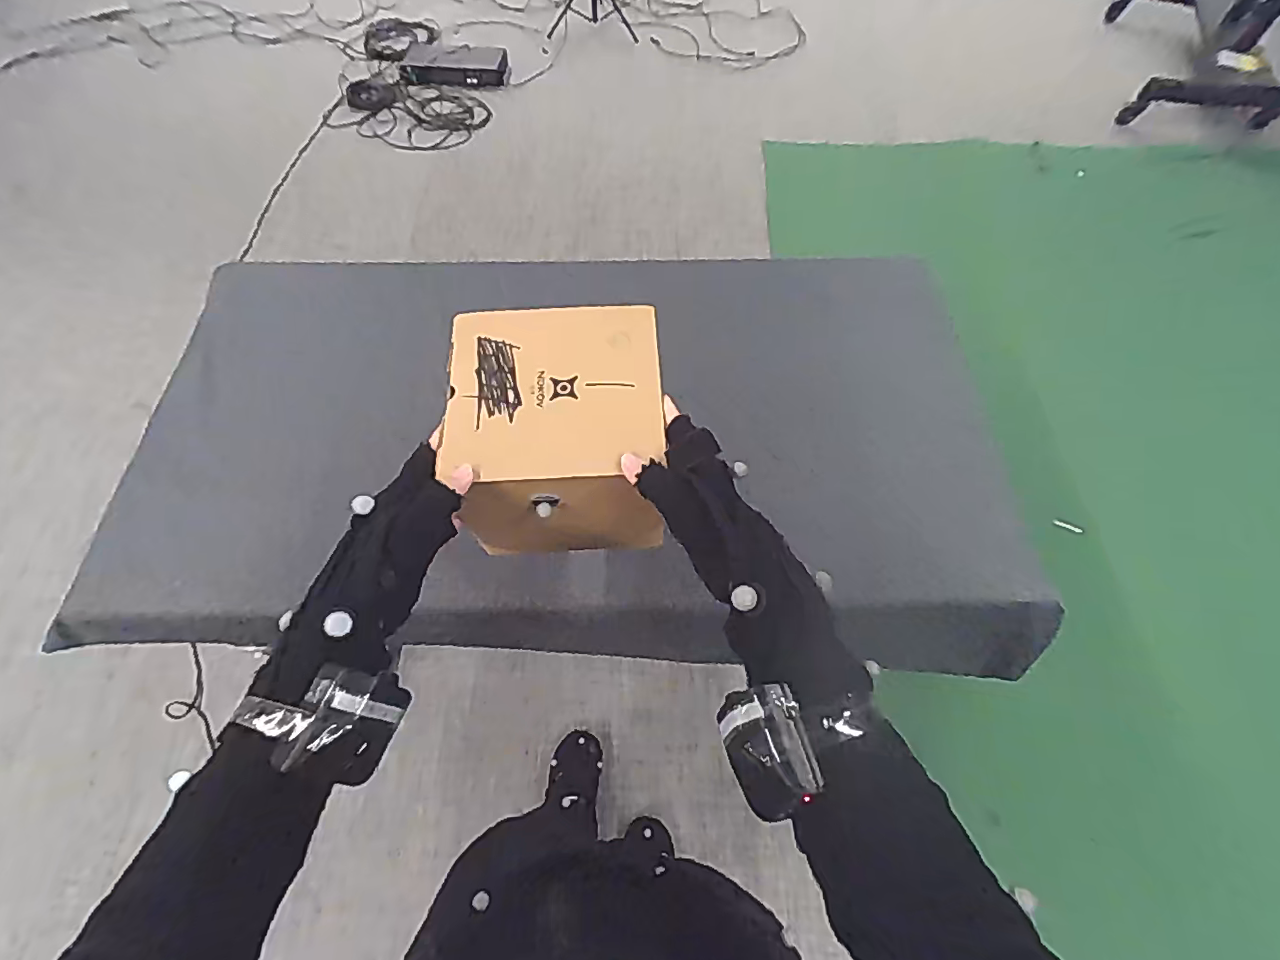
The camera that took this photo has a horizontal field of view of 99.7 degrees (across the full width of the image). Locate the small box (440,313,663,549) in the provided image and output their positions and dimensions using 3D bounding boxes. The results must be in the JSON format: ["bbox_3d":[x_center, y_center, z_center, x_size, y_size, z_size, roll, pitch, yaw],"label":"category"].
[{"bbox_3d":[-0.070,-0.037,0.521,0.179,0.176,0.168,-3,64,-2],"label":"small box"}]
